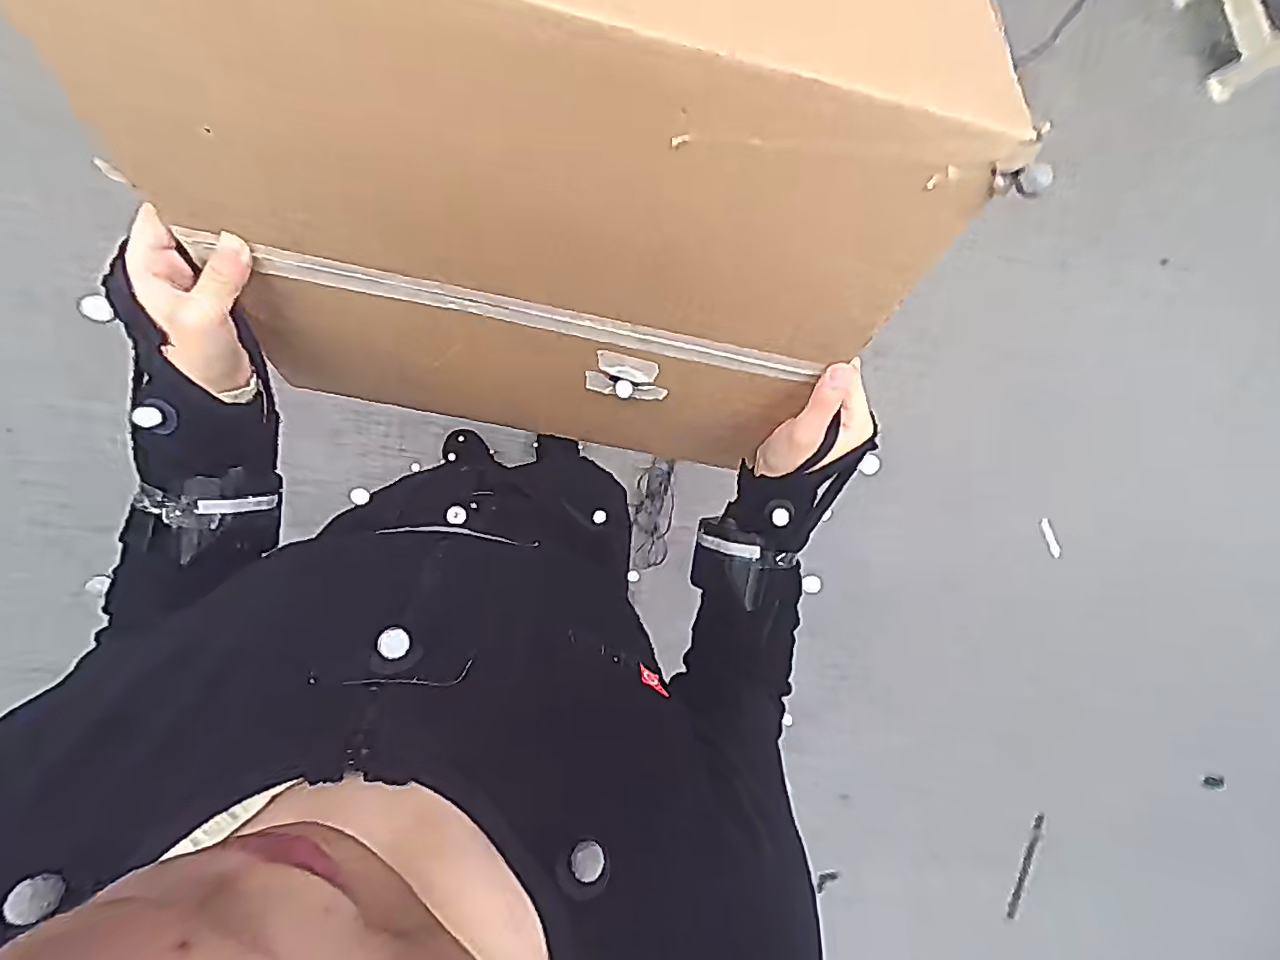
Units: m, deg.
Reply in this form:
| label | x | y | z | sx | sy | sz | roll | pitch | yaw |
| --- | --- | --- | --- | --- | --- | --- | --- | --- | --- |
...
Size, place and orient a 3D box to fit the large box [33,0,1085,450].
| label | x | y | z | sx | sy | sz | roll | pitch | yaw |
| --- | --- | --- | --- | --- | --- | --- | --- | --- | --- |
| large box | -0.042 | -0.252 | 0.375 | 0.408 | 0.320 | 0.320 | 9 | 66 | -6 |
